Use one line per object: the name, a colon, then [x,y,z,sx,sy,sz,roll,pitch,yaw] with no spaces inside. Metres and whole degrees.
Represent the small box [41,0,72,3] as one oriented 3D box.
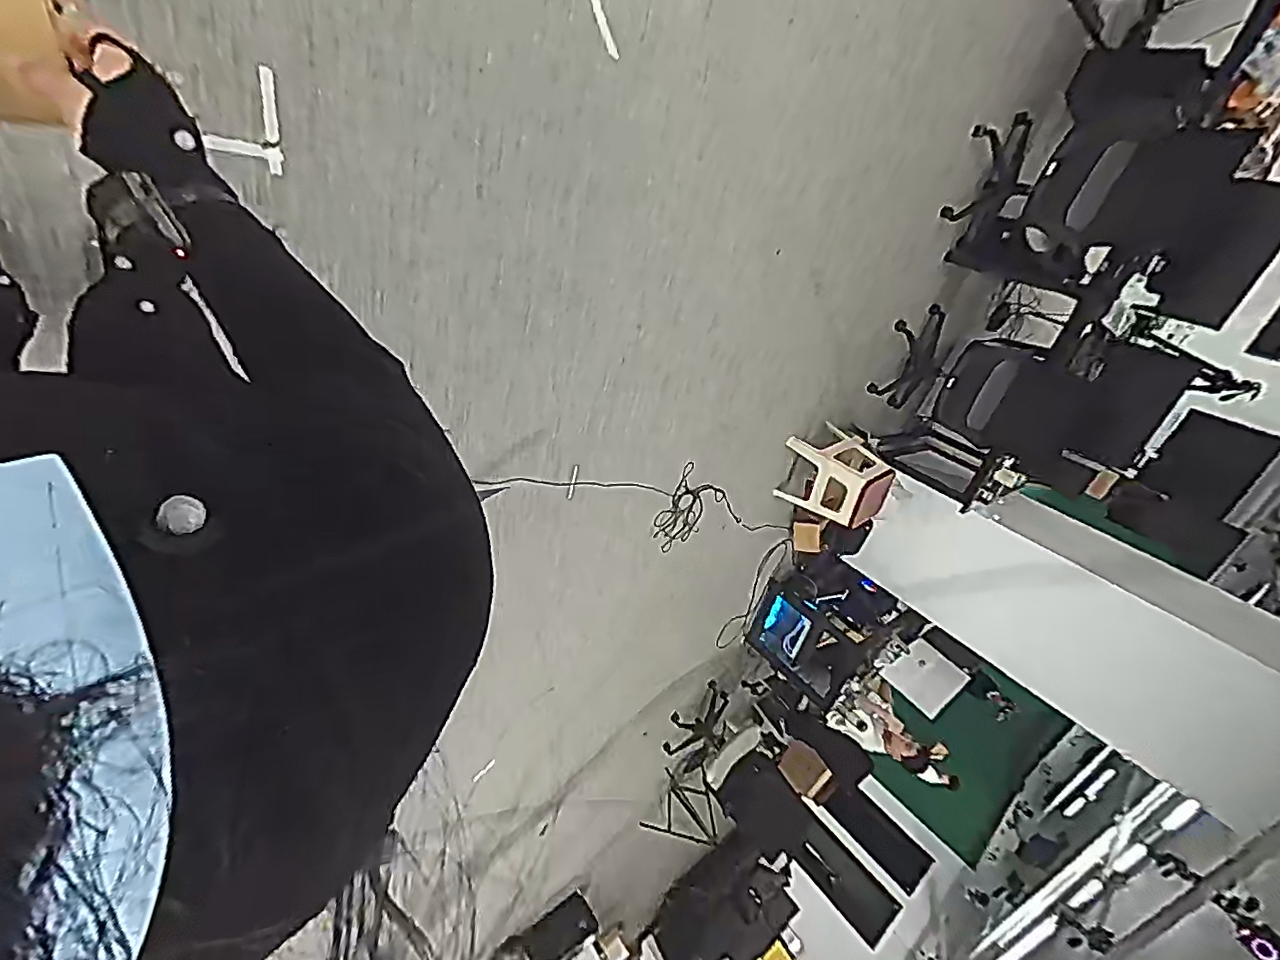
small box: [-0.858,-0.728,0.673,0.168,0.176,0.179,-21,133,-33]
